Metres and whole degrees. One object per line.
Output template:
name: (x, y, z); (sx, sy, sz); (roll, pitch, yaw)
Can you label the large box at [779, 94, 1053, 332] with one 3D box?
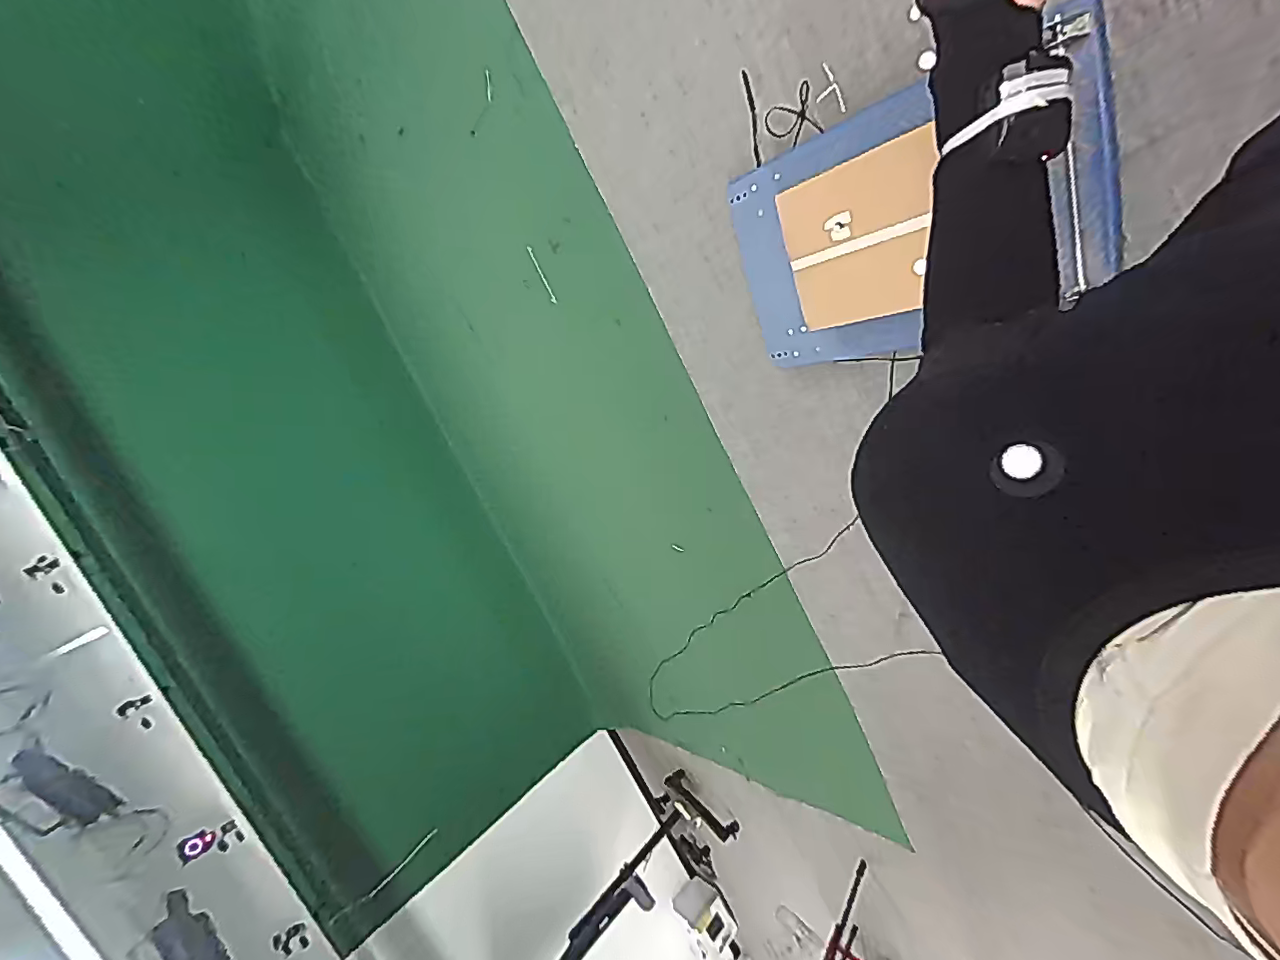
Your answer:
large box: (0.583, -0.549, 1.158); (0.408, 0.320, 0.320); (3, 117, 53)
